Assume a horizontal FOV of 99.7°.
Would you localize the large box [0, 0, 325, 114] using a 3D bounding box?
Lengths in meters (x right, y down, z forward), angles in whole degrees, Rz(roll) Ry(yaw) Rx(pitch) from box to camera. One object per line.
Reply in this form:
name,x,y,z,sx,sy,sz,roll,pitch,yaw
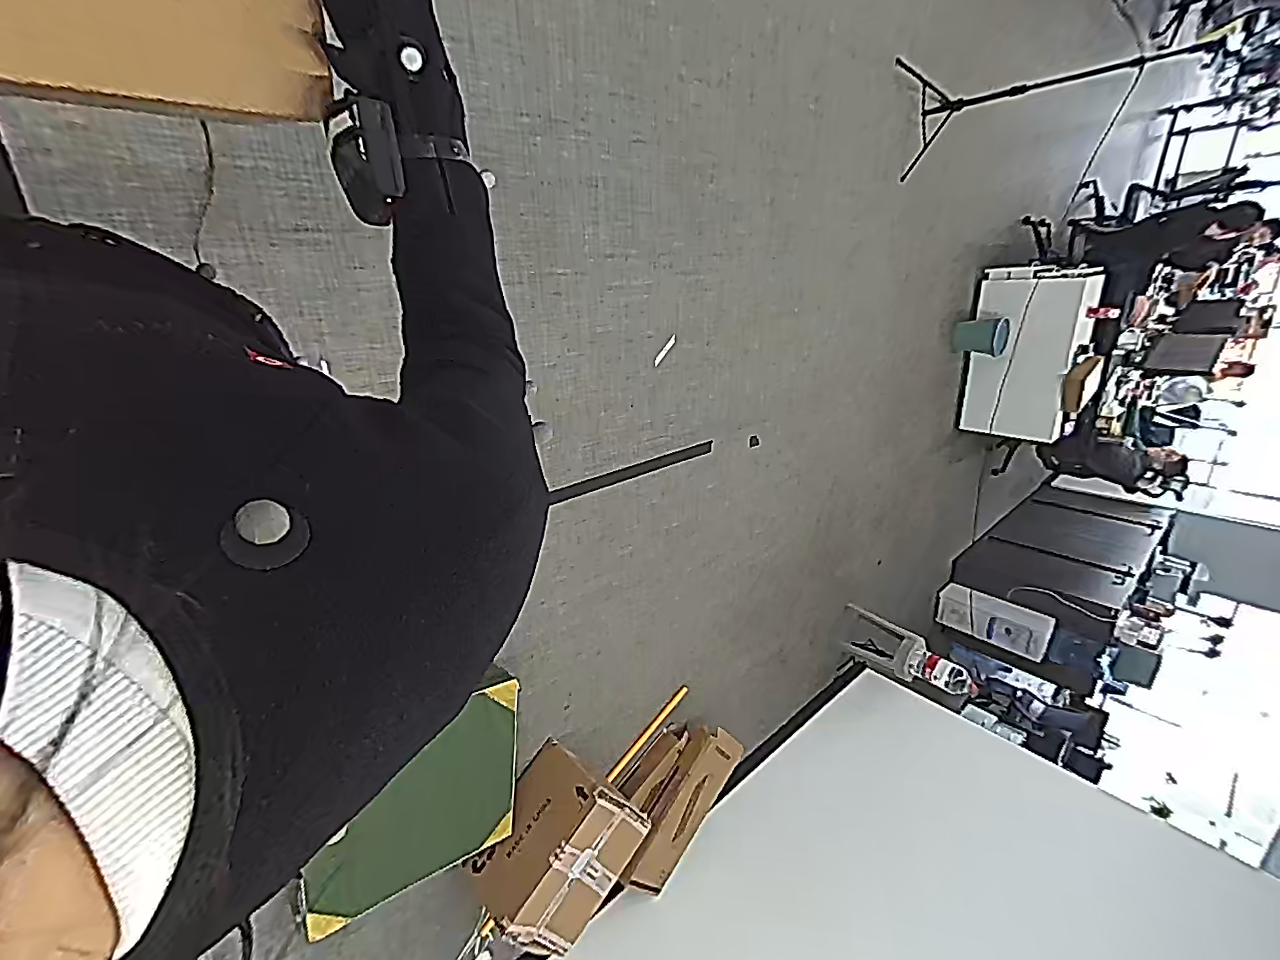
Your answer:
large box,-0.454,-0.403,0.284,0.408,0.320,0.320,-18,128,-36
